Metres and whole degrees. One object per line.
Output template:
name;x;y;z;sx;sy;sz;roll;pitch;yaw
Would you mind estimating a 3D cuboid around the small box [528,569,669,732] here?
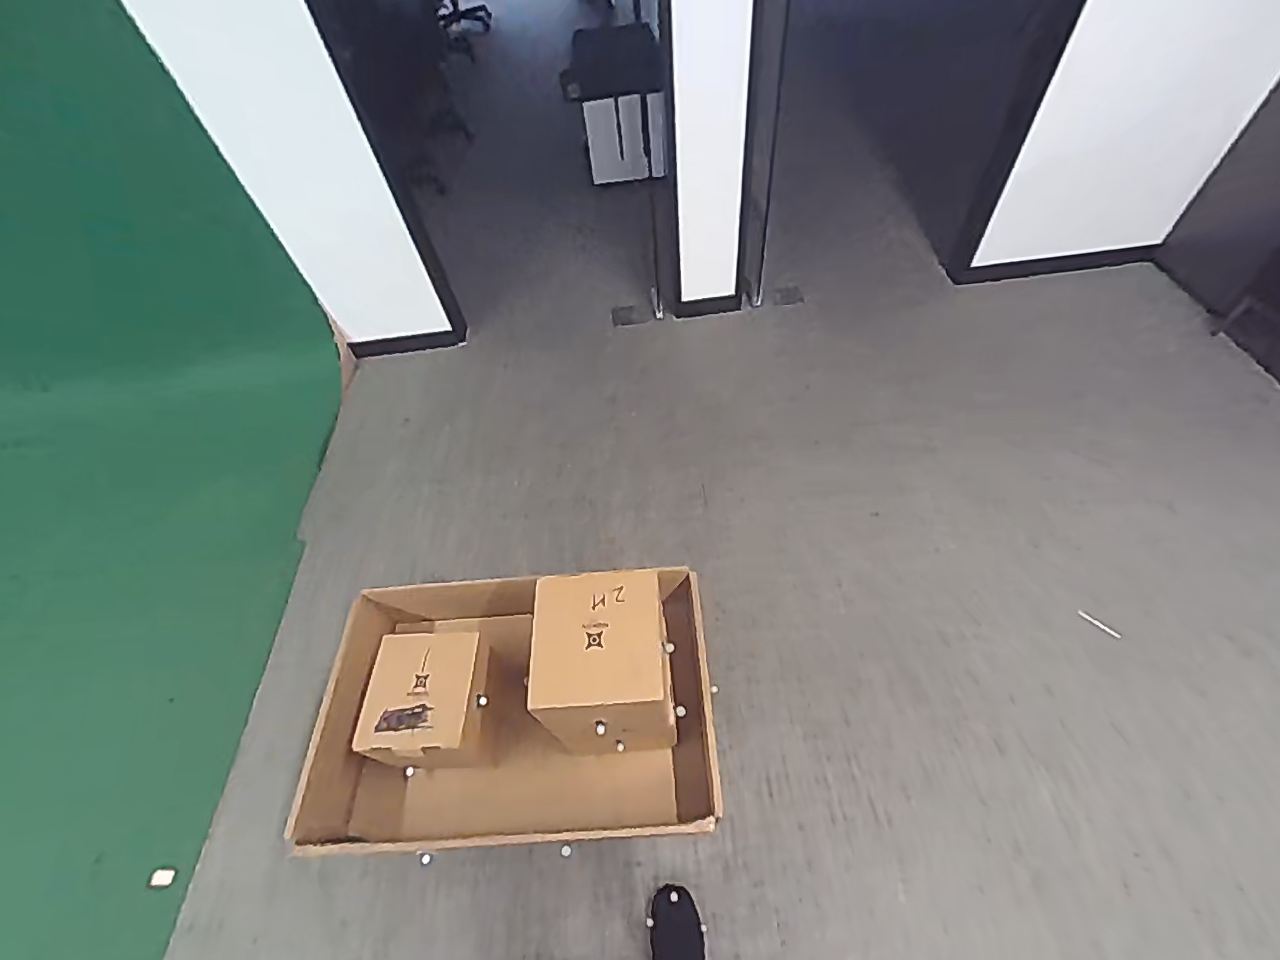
small box;-0.048;0.244;0.753;0.168;0.176;0.179;-4;53;3
